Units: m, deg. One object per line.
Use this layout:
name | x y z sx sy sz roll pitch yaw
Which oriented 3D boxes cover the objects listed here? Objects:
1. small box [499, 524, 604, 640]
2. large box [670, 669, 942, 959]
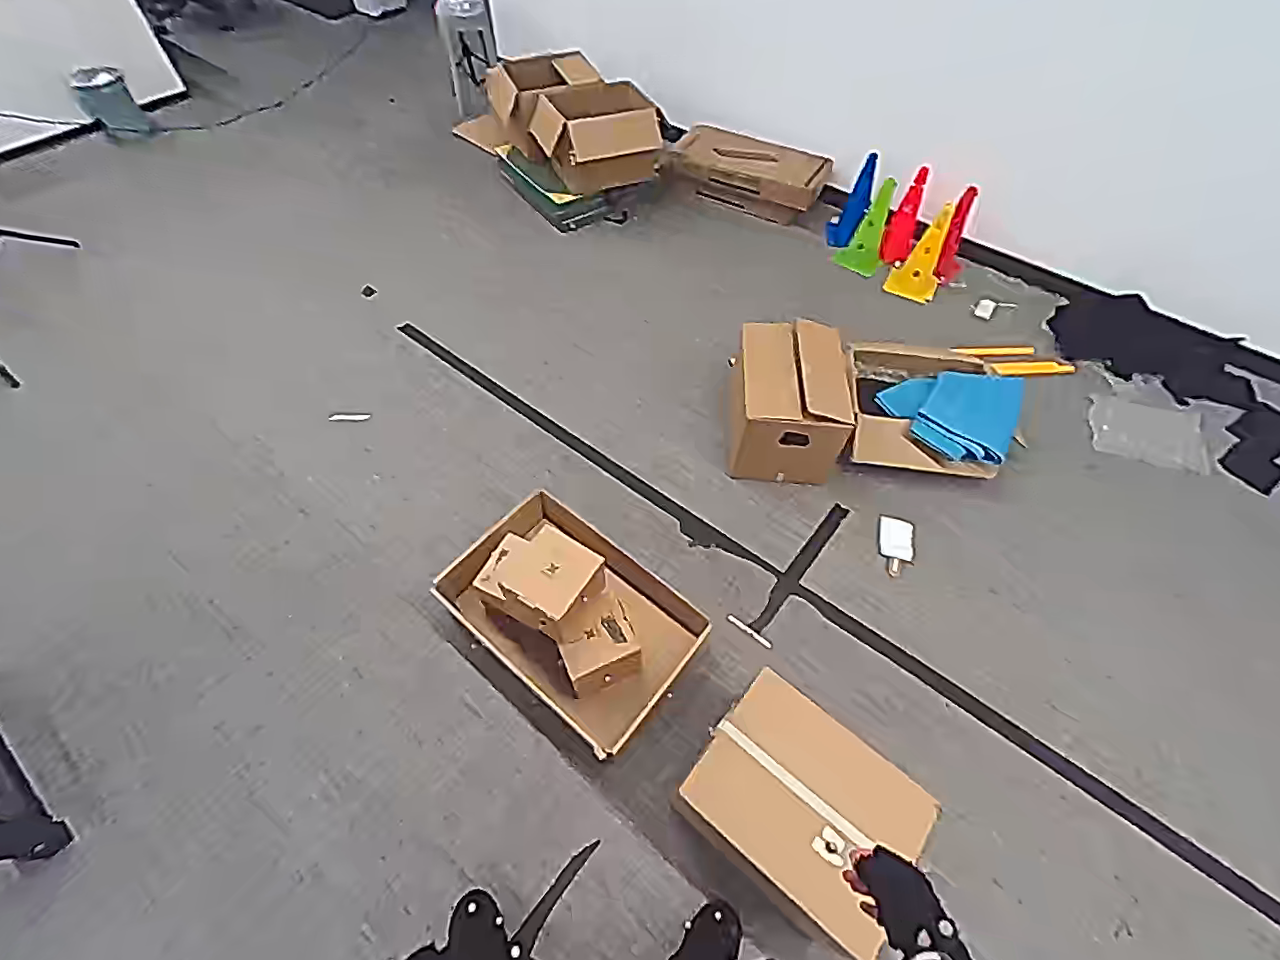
small box | -0.194 0.240 1.250 0.168 0.176 0.179 29 59 15
large box | 0.318 0.681 1.143 0.408 0.320 0.320 35 63 19
